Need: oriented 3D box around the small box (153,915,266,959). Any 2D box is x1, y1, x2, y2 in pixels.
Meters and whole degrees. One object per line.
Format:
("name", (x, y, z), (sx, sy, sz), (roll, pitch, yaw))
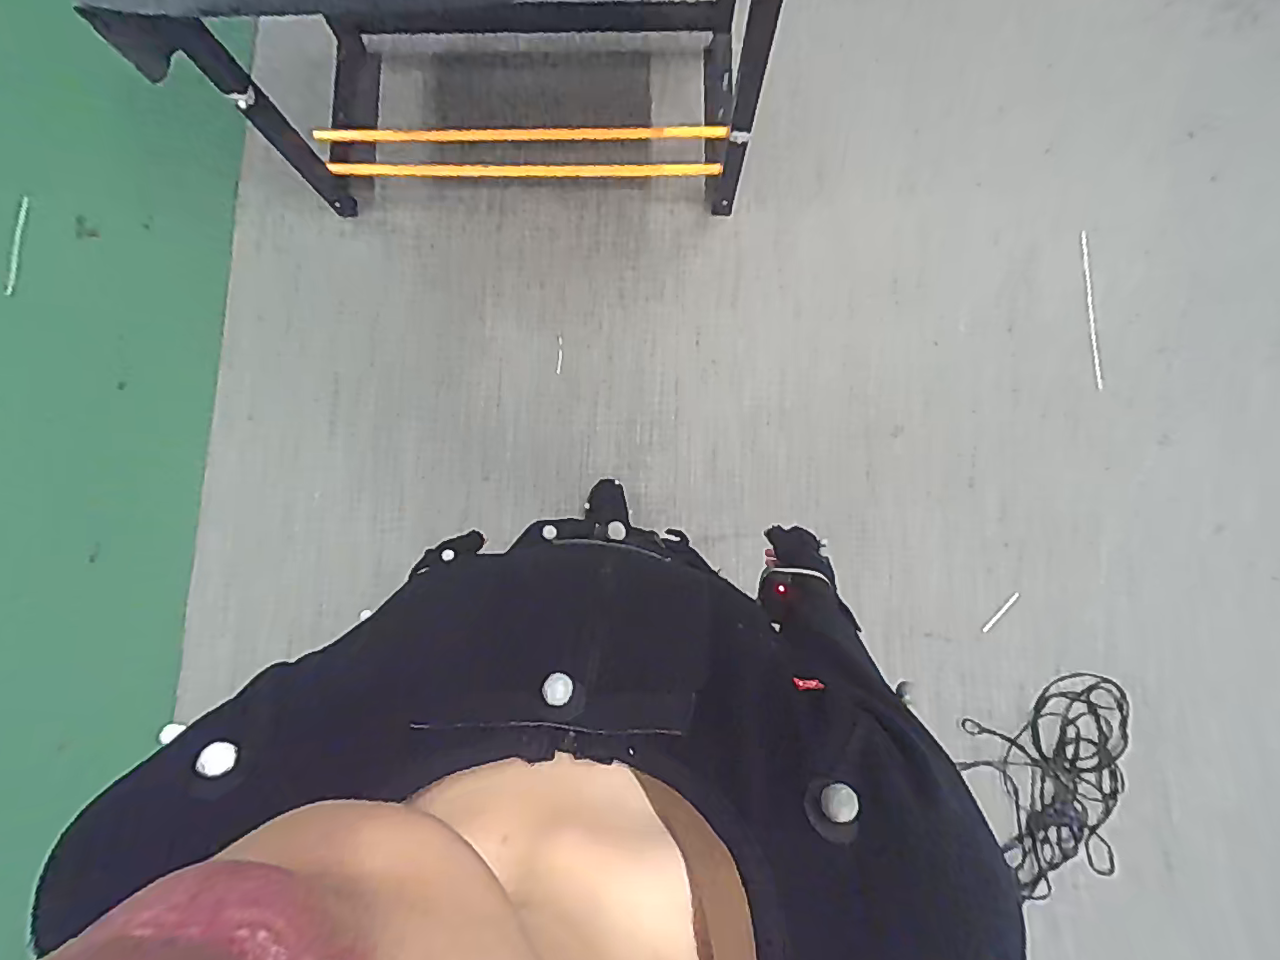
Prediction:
("small box", (-1.028, 1.186, 1.278), (0.168, 0.176, 0.179), (4, 81, 2))
